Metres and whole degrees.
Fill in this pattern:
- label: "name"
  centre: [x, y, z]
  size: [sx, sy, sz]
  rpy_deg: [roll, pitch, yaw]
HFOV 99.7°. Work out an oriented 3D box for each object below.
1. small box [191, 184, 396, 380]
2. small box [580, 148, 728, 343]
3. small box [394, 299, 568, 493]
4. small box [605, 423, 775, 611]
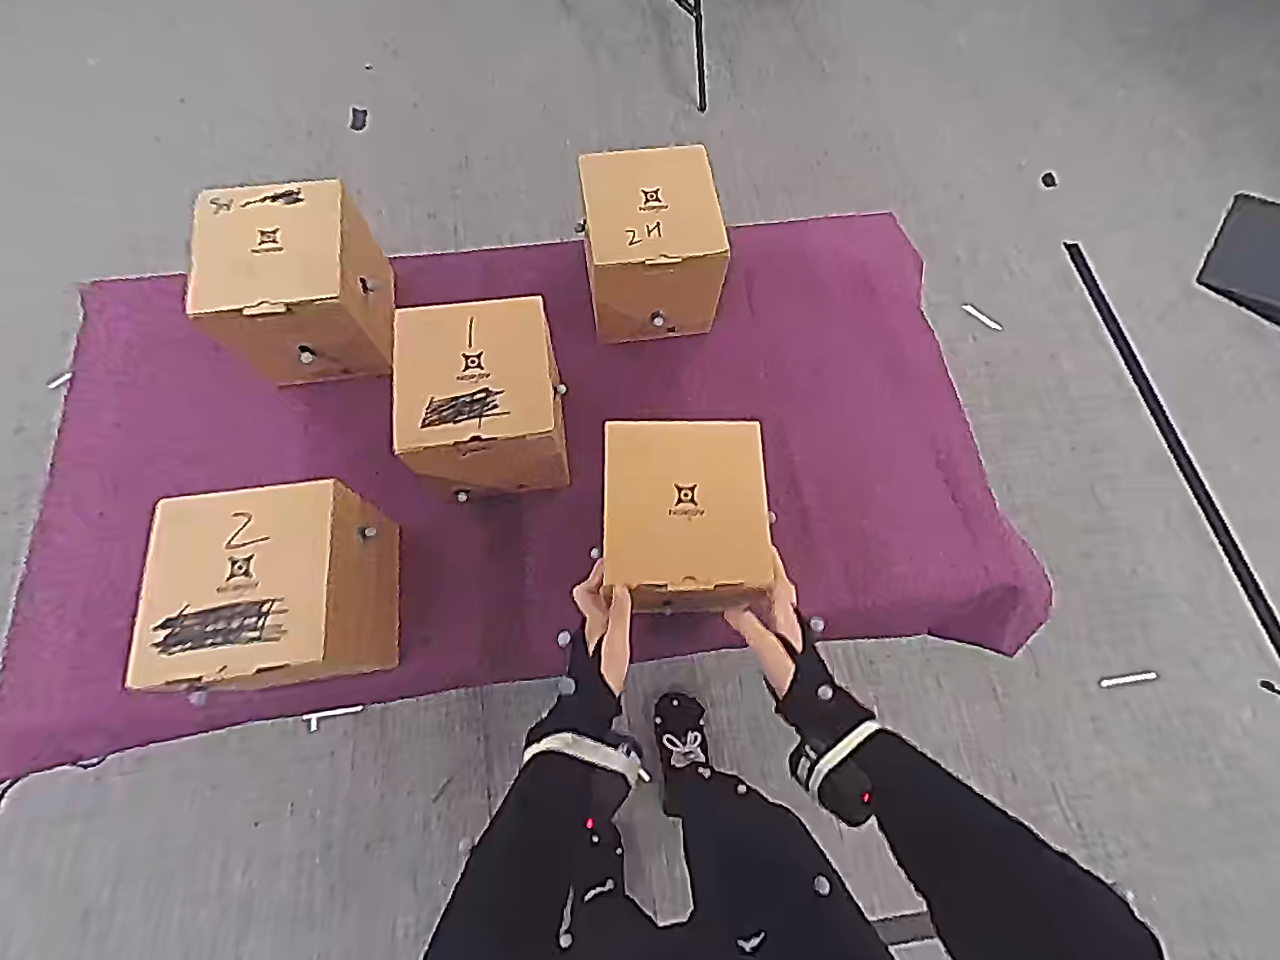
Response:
- label: "small box"
  centre: [-0.429, -0.242, 0.699]
  size: [0.168, 0.176, 0.179]
  rpy_deg: [-8, 73, -5]
- label: "small box"
  centre: [0.011, -0.312, 0.740]
  size: [0.168, 0.176, 0.179]
  rpy_deg: [-8, 72, -4]
- label: "small box"
  centre: [-0.182, -0.090, 0.657]
  size: [0.168, 0.176, 0.179]
  rpy_deg: [-7, 70, -5]
- label: "small box"
  centre: [0.044, 0.049, 0.616]
  size: [0.168, 0.176, 0.179]
  rpy_deg: [0, 70, -2]
